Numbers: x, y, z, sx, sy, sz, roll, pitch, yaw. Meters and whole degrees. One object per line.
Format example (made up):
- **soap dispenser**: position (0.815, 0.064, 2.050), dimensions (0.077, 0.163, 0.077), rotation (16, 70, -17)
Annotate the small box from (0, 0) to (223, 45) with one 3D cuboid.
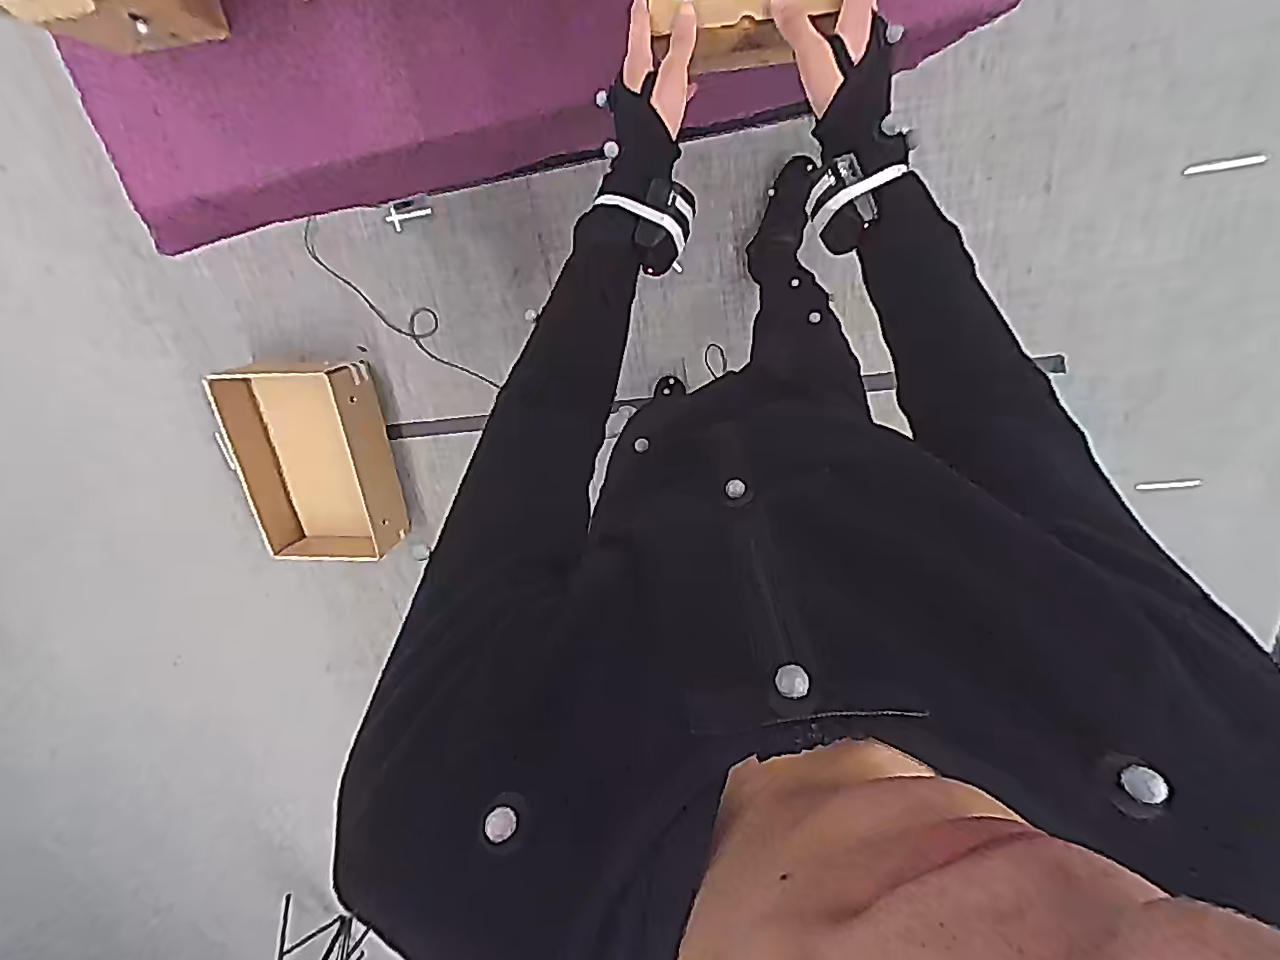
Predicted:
- **small box**: position (-0.629, -0.624, 0.611), dimensions (0.168, 0.176, 0.179), rotation (-2, 113, 8)
